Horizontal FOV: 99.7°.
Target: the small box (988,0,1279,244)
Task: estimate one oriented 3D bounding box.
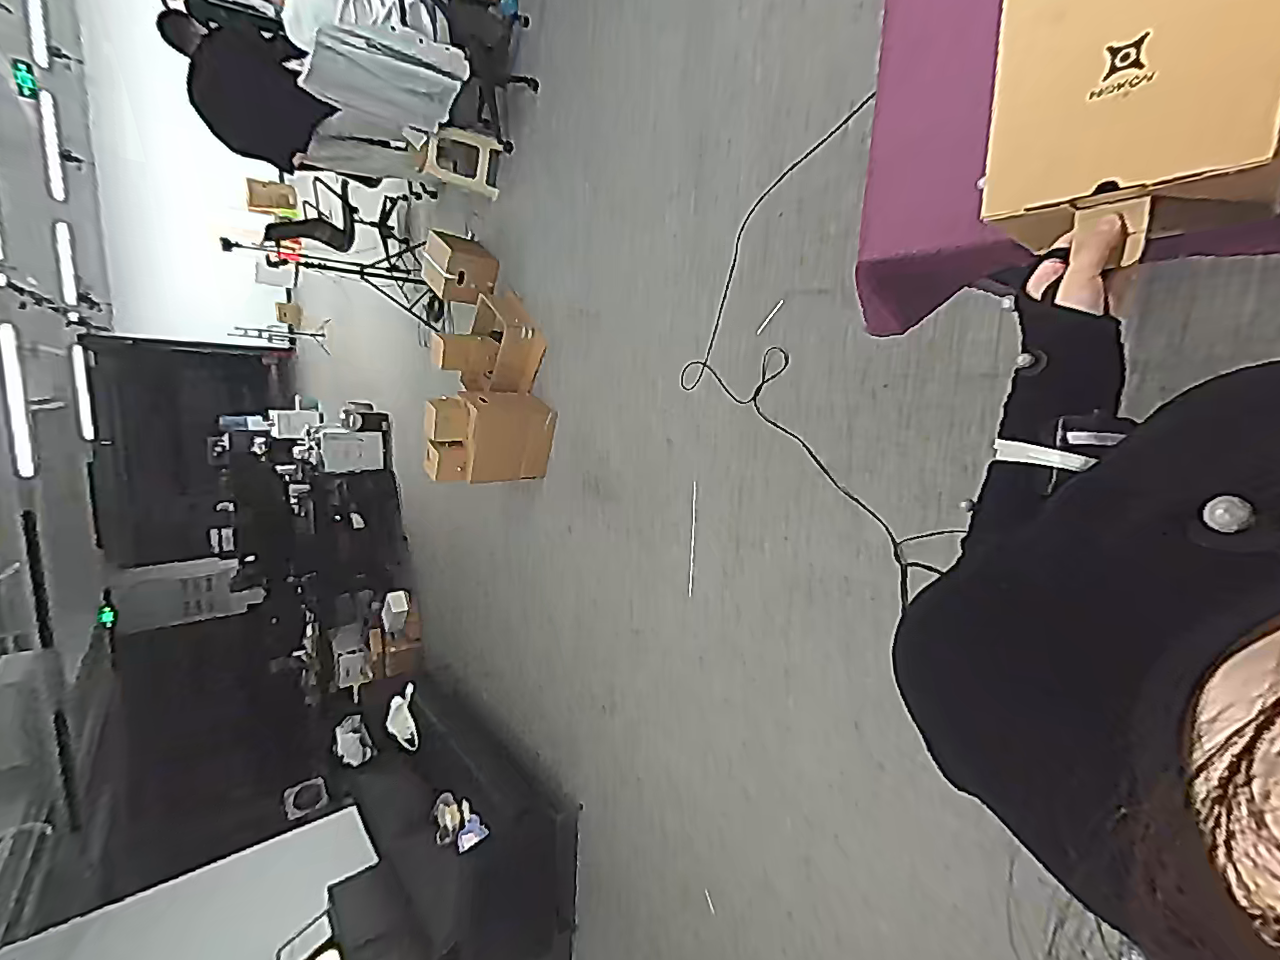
[{"bbox_3d":[0.418,-0.315,0.452,0.168,0.176,0.179,8,105,50],"label":"small box"}]
